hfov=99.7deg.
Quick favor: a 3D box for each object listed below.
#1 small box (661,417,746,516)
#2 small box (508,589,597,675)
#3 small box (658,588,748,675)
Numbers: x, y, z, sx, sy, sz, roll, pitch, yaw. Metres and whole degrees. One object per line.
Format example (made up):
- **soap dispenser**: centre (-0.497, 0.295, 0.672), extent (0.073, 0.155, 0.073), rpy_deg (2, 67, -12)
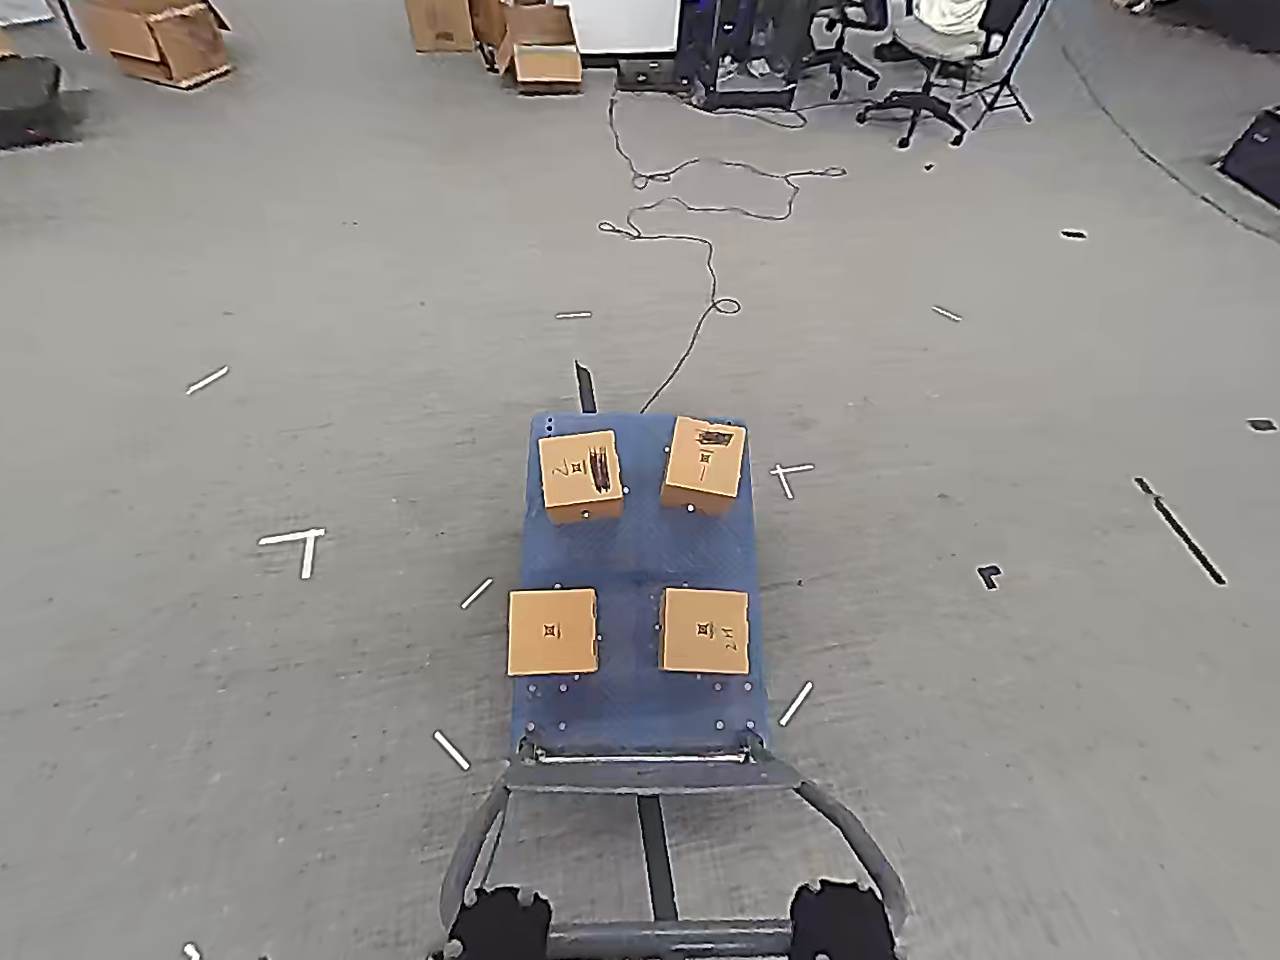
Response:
- **small box**: centre (0.149, -0.027, 1.314), extent (0.168, 0.176, 0.179), rpy_deg (11, 72, 1)
- **small box**: centre (-0.183, 0.334, 1.171), extent (0.179, 0.176, 0.168), rpy_deg (-1, 71, -5)
- **small box**: centre (0.134, 0.337, 1.186), extent (0.179, 0.176, 0.168), rpy_deg (4, 71, -2)
